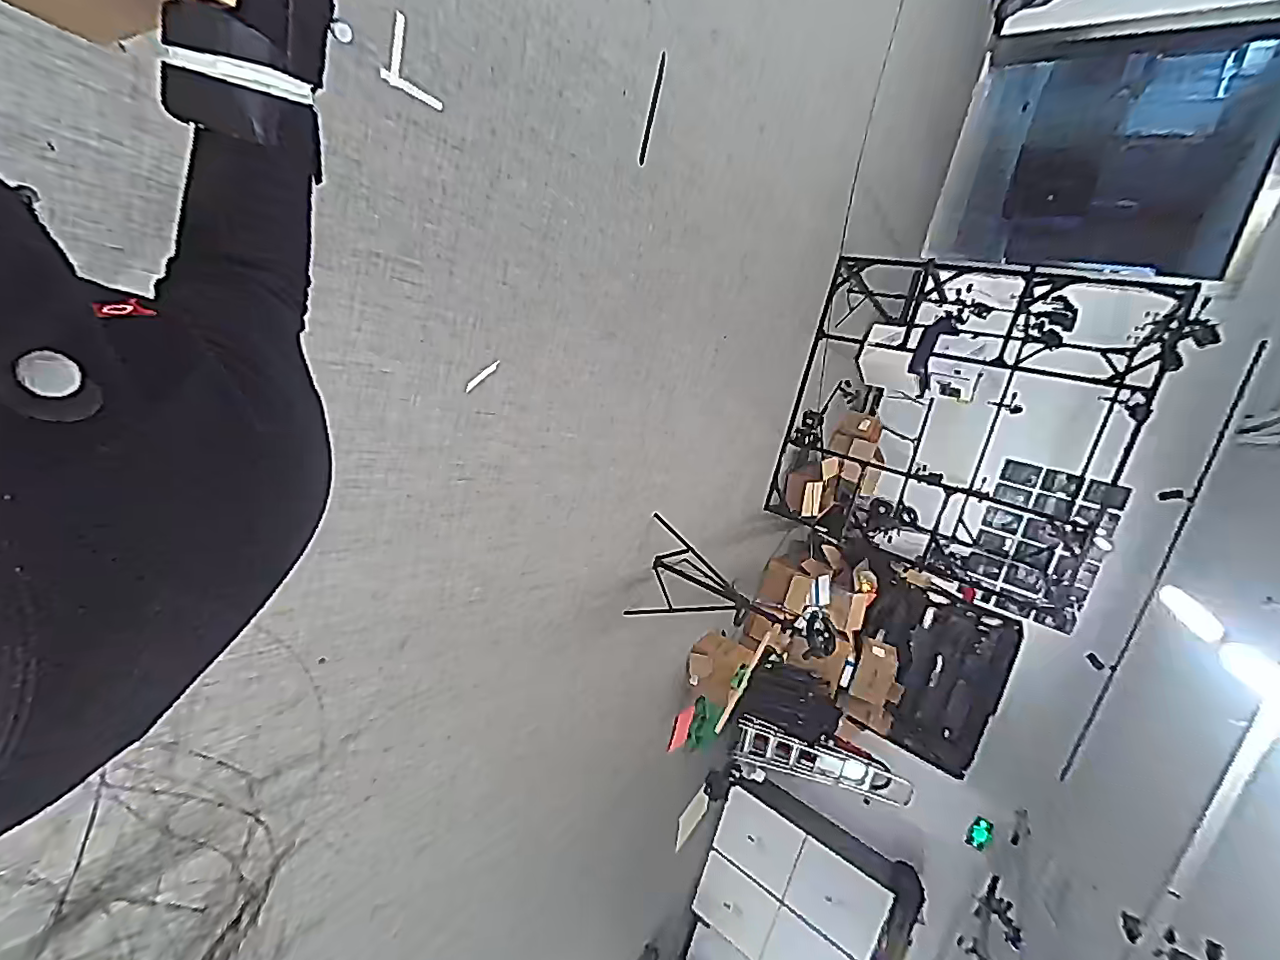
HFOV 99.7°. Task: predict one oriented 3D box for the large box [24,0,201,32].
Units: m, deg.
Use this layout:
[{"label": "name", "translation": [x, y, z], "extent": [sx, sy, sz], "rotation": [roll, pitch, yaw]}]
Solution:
[{"label": "large box", "translation": [-0.429, -0.477, 0.206], "extent": [0.408, 0.320, 0.320], "rotation": [-1, 113, -56]}]
